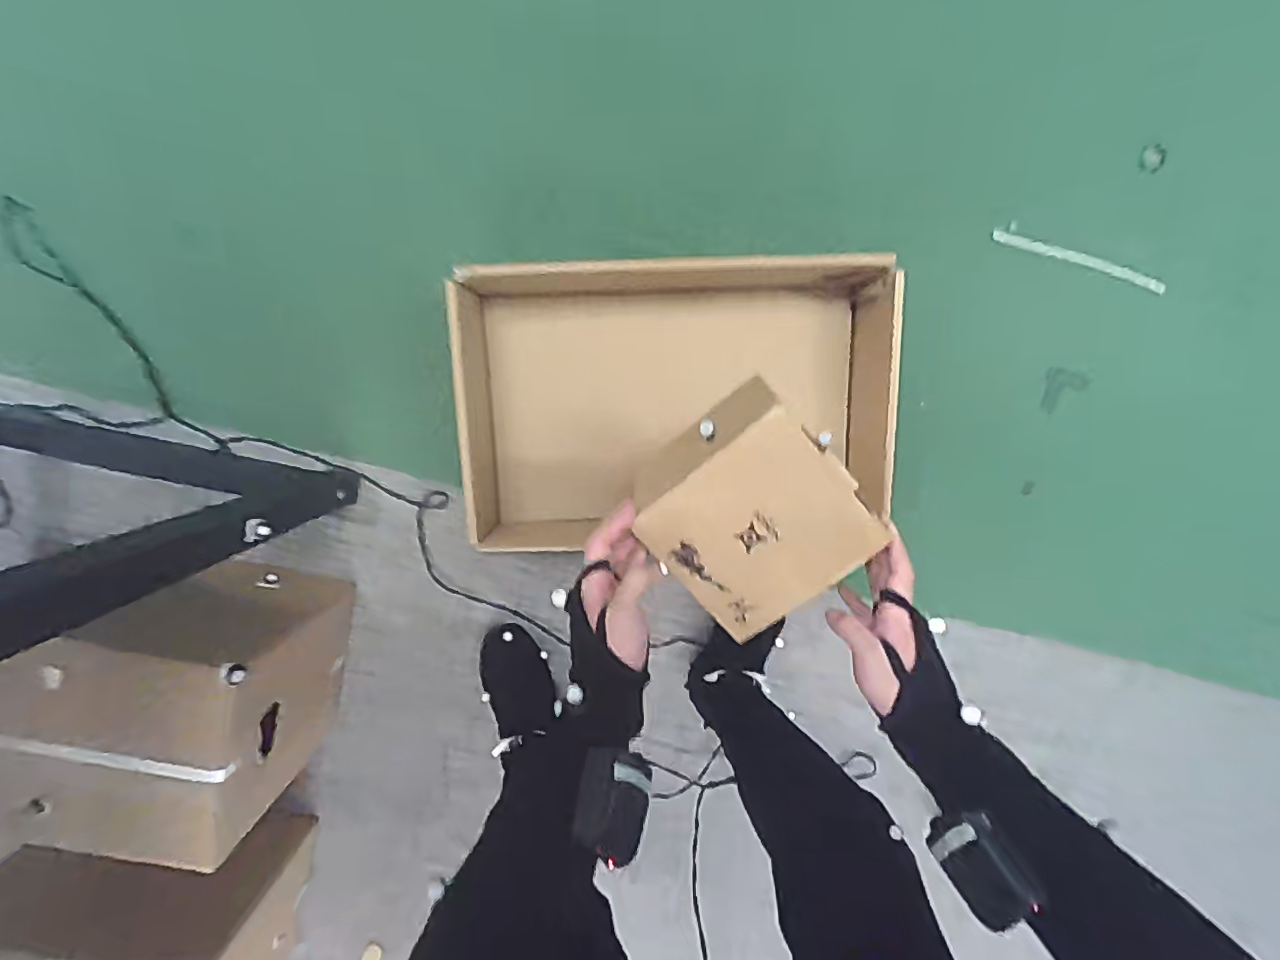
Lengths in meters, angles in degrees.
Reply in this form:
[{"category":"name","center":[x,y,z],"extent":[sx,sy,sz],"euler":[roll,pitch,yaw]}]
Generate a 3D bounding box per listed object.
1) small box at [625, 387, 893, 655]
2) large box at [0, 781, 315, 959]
[{"category":"small box","center":[0.105,0.028,0.541],"extent":[0.179,0.176,0.168],"euler":[-40,101,15]},{"category":"large box","center":[-0.859,0.793,0.932],"extent":[0.408,0.320,0.320],"euler":[15,99,-2]}]
